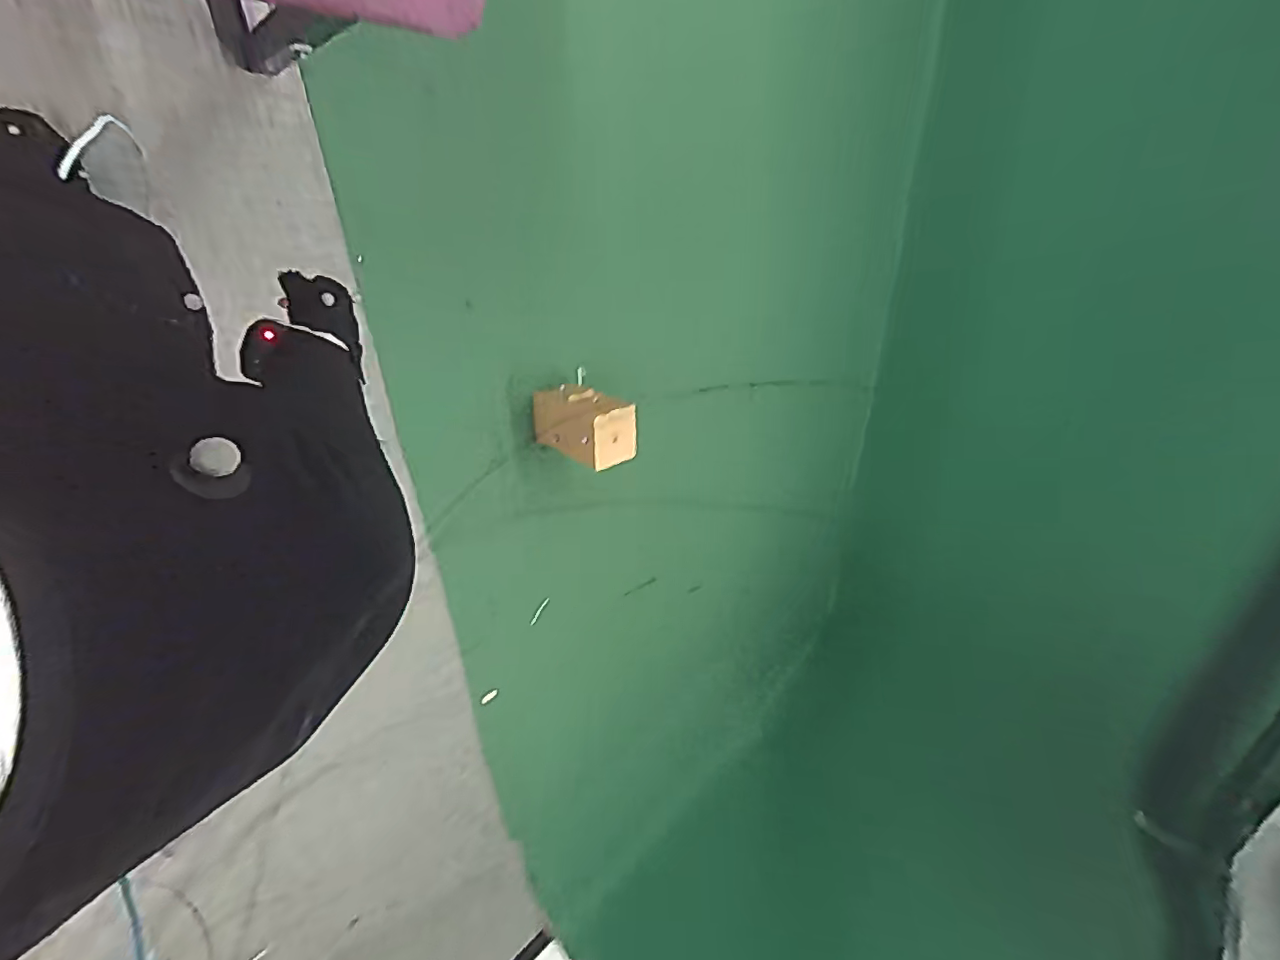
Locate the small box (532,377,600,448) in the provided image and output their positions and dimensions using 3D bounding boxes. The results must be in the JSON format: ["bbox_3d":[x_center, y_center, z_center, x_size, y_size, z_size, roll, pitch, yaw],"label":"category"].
[{"bbox_3d":[-0.248,-0.232,1.824,0.168,0.176,0.179,-25,126,-38],"label":"small box"}]

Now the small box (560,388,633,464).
[{"bbox_3d":[-0.139,-0.176,1.716,0.168,0.176,0.179,-24,125,-38],"label":"small box"}]
